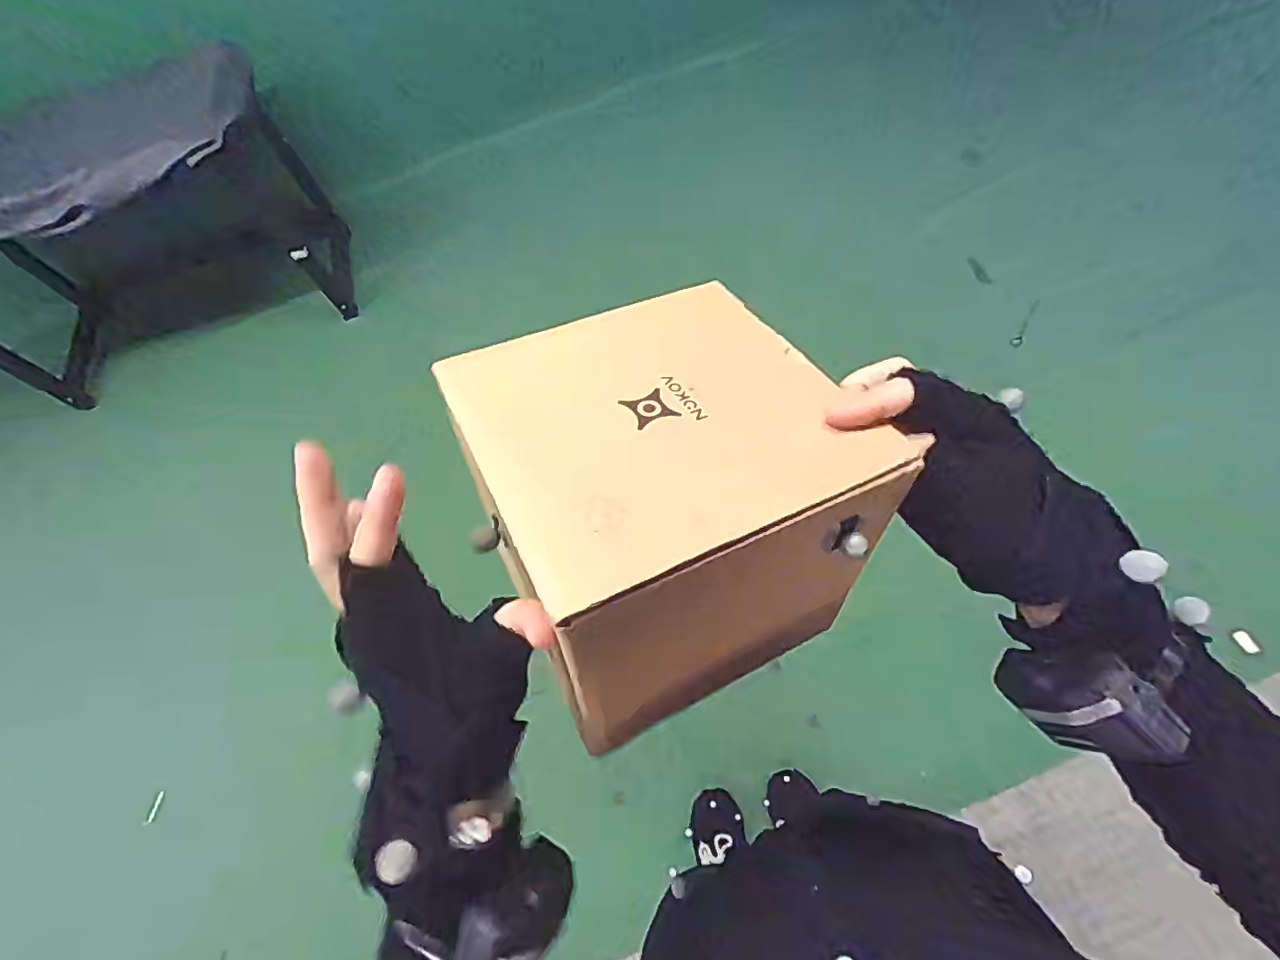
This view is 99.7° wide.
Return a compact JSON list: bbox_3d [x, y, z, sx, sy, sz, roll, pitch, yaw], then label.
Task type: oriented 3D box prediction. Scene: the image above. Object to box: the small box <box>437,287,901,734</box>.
[{"bbox_3d":[0.006,0.018,0.319,0.179,0.176,0.168,-20,53,-17],"label":"small box"}]
